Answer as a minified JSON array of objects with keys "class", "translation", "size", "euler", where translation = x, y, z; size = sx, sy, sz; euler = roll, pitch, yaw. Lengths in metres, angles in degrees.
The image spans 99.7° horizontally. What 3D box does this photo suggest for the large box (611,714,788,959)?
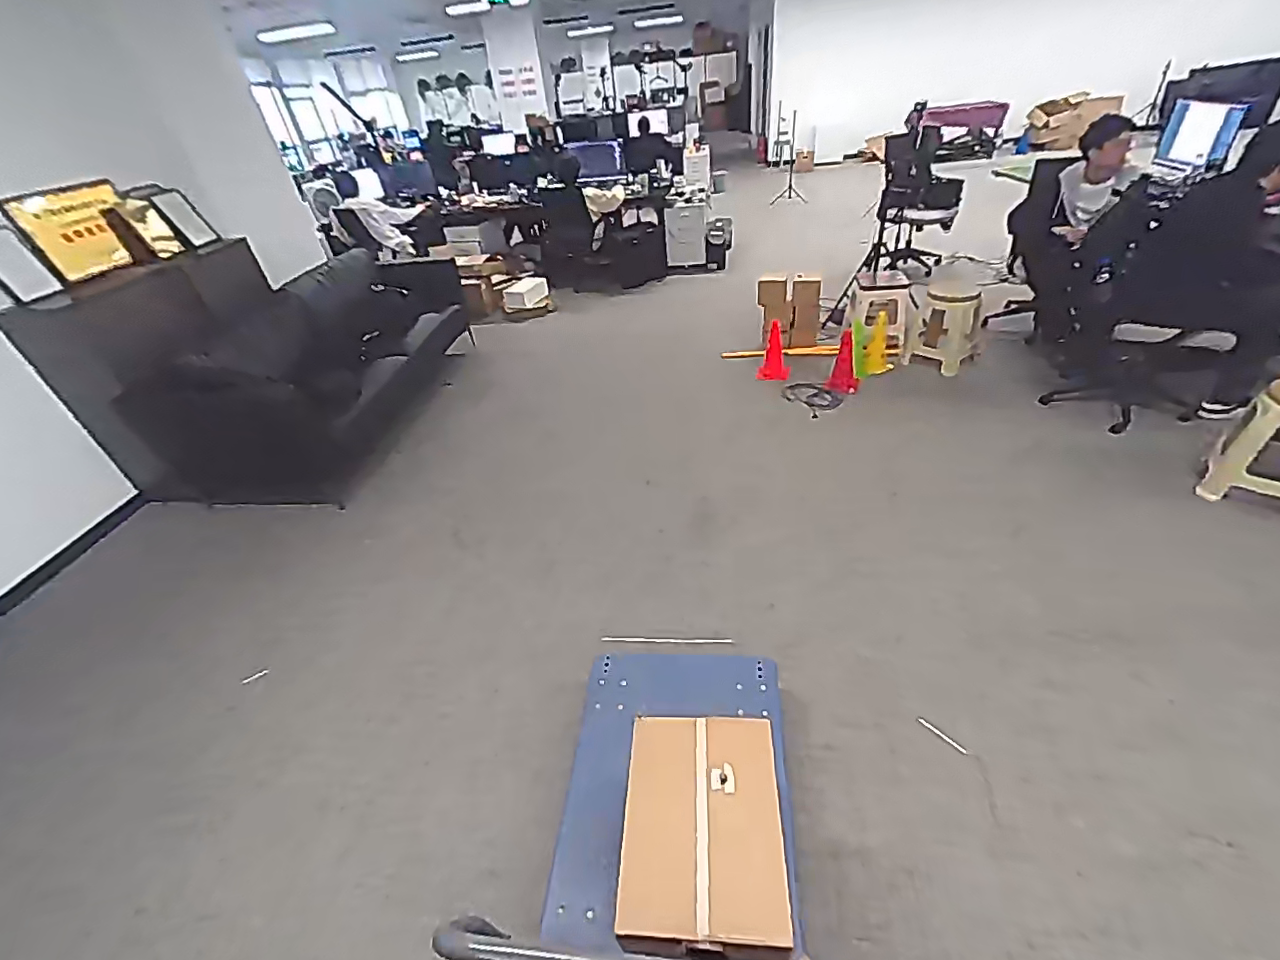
[{"class":"large box","translation":[0.130,0.781,1.175],"size":[0.320,0.320,0.408],"euler":[-1,37,7]}]
